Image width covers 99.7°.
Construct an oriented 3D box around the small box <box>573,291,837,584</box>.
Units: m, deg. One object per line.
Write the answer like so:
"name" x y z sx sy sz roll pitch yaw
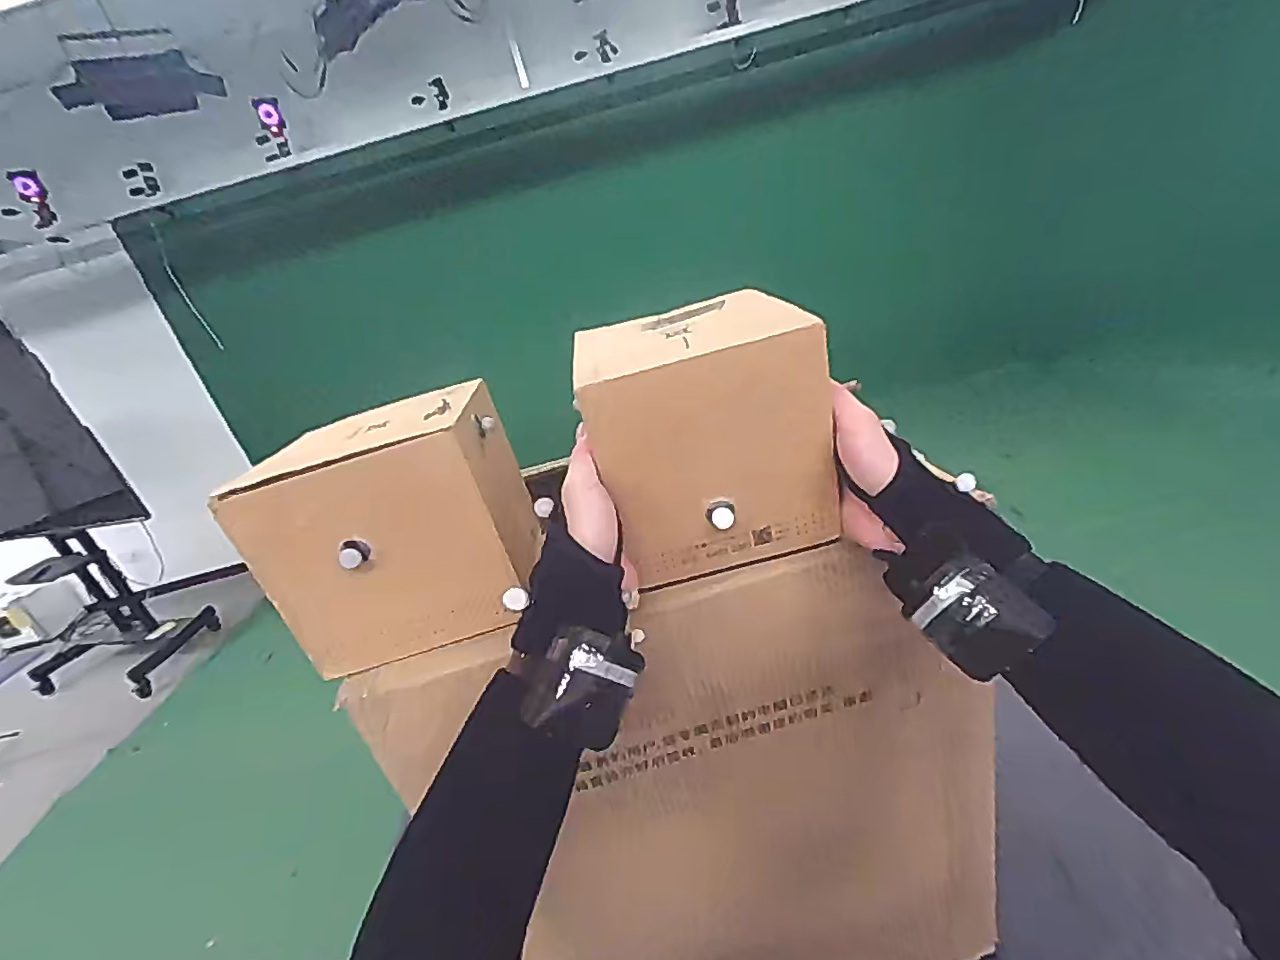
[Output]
"small box" 0.048 -0.043 0.447 0.168 0.176 0.179 -15 27 1
